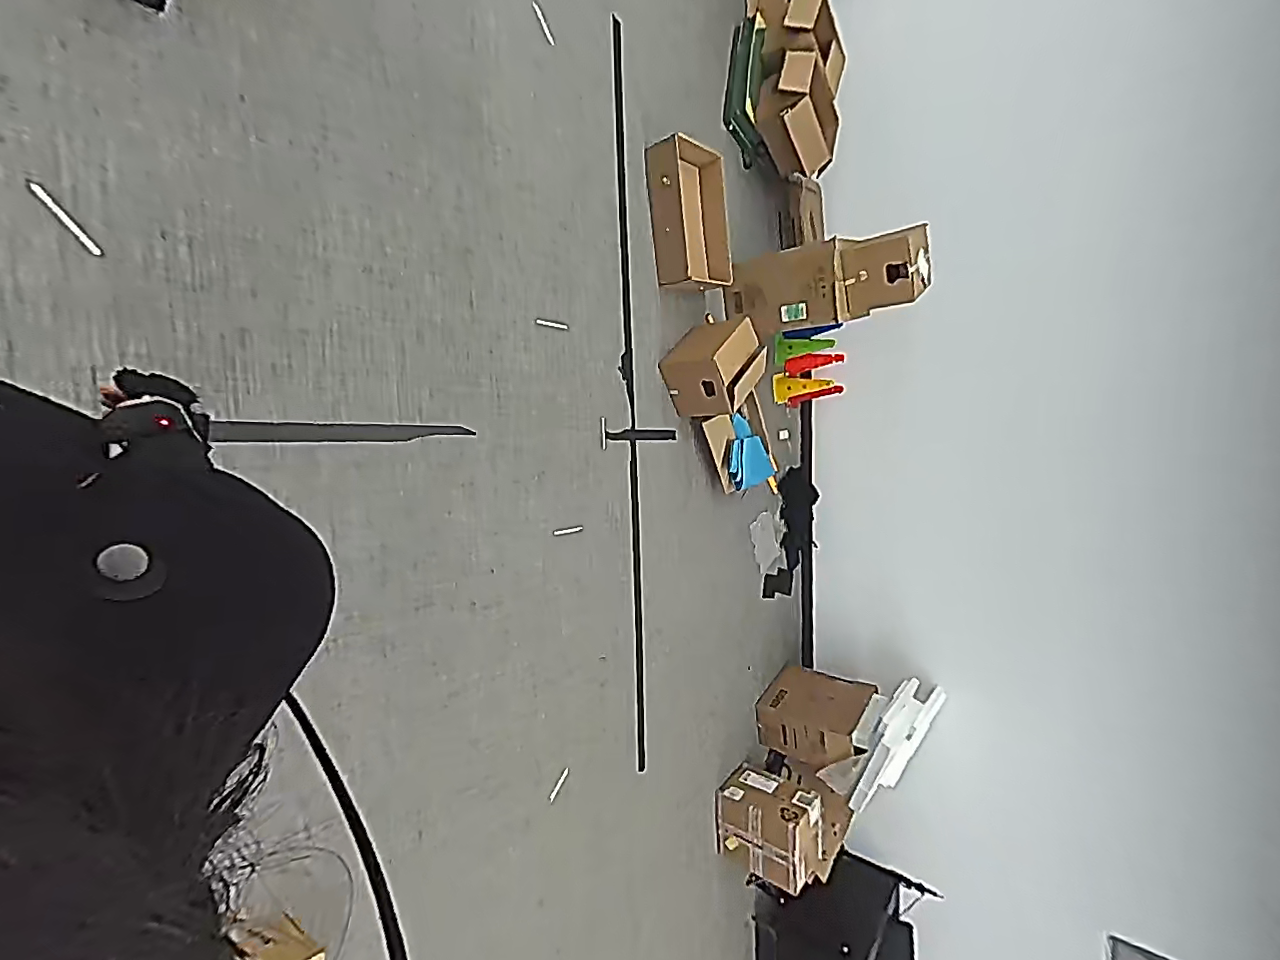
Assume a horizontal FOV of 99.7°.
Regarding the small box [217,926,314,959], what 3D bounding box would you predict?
[{"bbox_3d":[-0.915,1.224,1.286,0.179,0.176,0.168,14,81,-51],"label":"small box"}]
